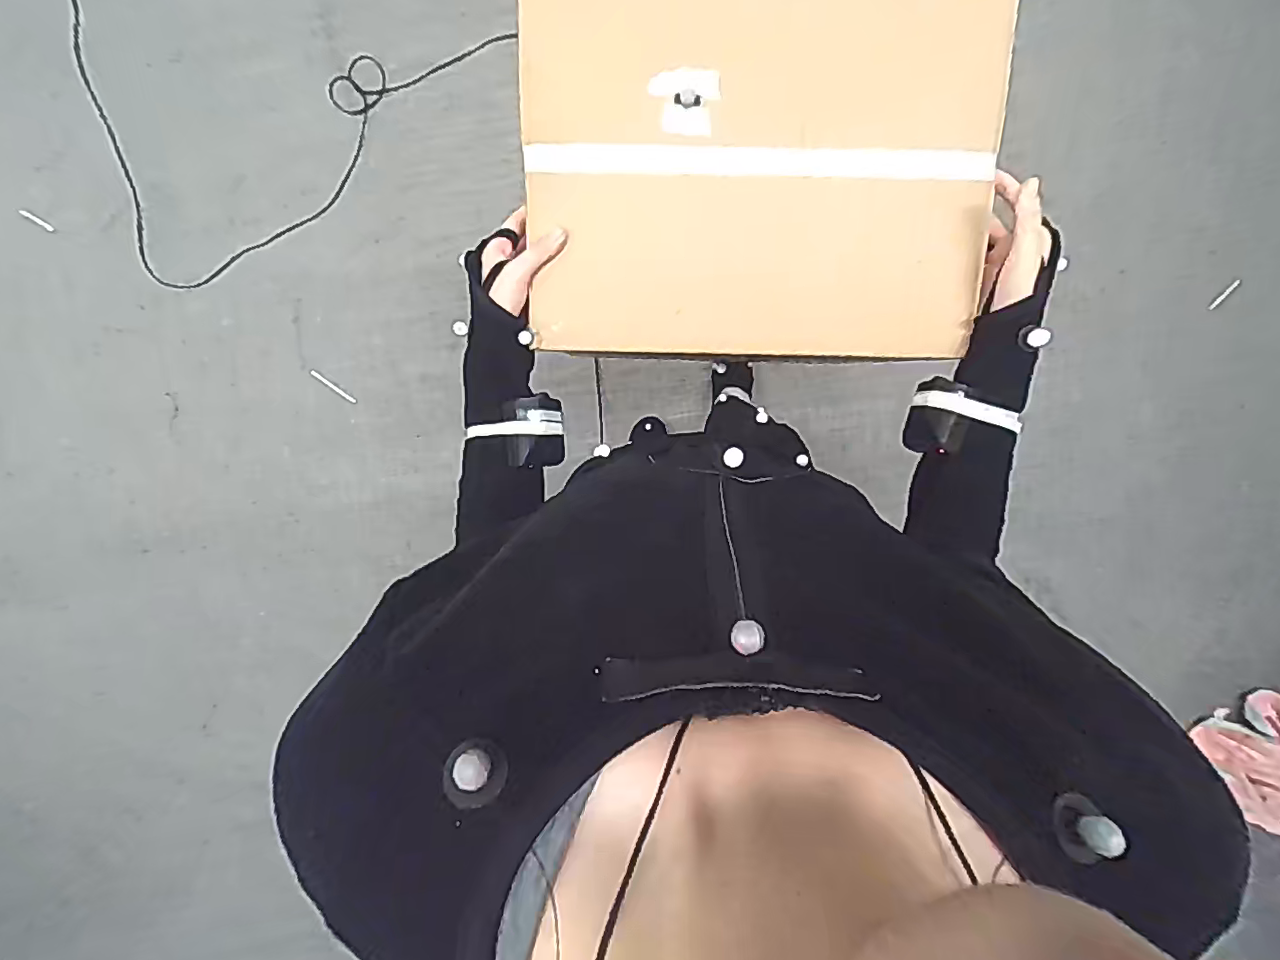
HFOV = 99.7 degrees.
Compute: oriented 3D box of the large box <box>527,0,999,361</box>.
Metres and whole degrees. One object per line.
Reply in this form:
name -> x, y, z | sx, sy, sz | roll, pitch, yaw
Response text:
large box -> 0.103, -0.300, 0.627 | 0.408, 0.320, 0.320 | 1, 101, 0
